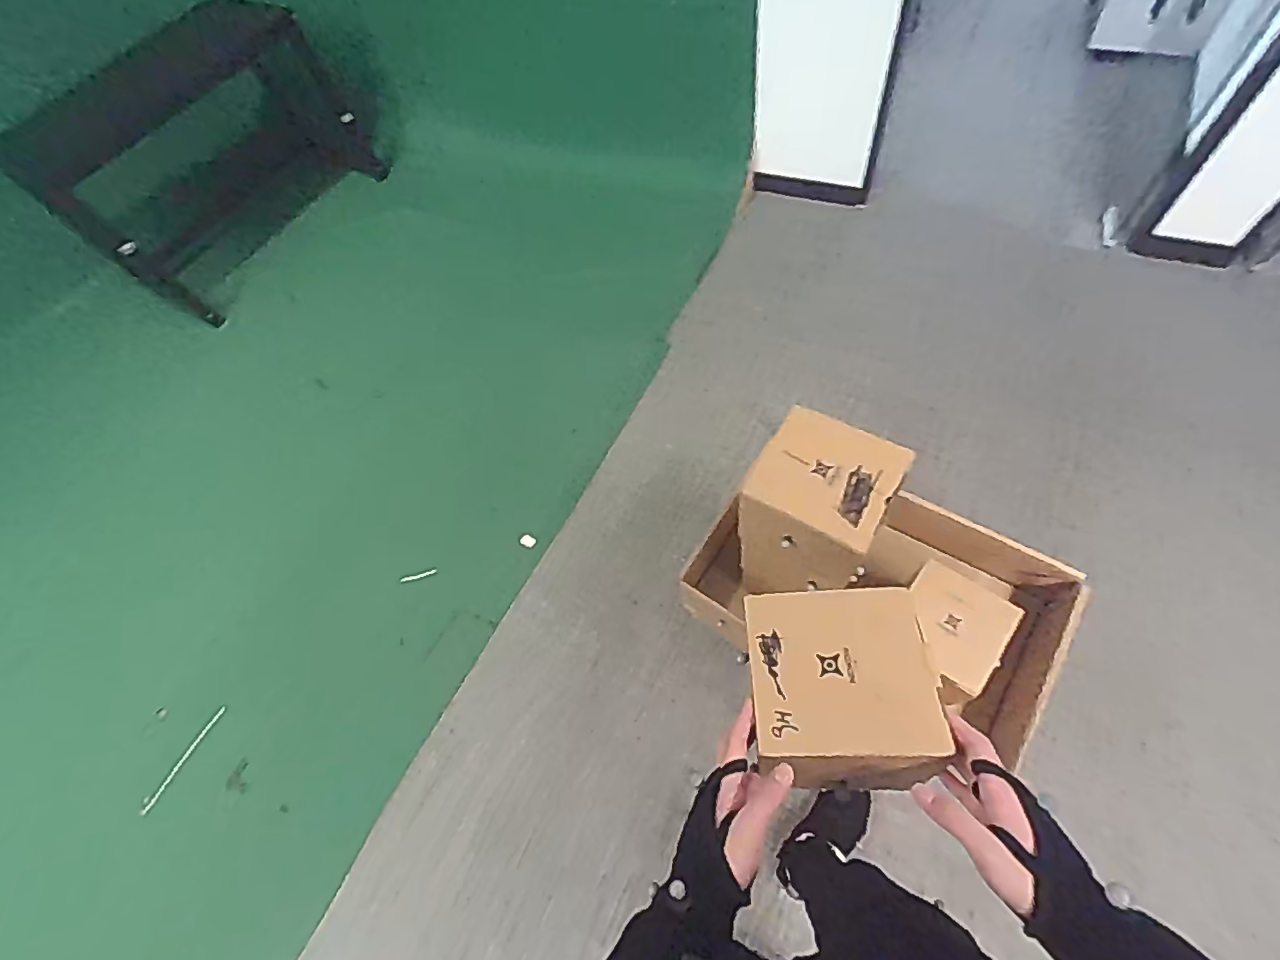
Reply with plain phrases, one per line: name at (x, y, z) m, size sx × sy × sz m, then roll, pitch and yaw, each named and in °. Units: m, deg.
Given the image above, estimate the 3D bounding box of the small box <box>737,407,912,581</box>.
small box at (0.260, 0.030, 0.794) m, size 0.179 × 0.176 × 0.168 m, roll 28°, pitch 72°, yaw 23°

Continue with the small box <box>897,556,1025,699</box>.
small box at (0.543, 0.274, 0.982) m, size 0.168 × 0.176 × 0.179 m, roll 34°, pitch 75°, yaw 24°

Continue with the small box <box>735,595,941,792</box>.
small box at (0.200, 0.241, 0.603) m, size 0.179 × 0.176 × 0.168 m, roll -5°, pitch 52°, yaw 9°

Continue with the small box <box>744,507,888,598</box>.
small box at (0.293, 0.100, 0.939) m, size 0.179 × 0.176 × 0.168 m, roll 30°, pitch 73°, yaw 22°
